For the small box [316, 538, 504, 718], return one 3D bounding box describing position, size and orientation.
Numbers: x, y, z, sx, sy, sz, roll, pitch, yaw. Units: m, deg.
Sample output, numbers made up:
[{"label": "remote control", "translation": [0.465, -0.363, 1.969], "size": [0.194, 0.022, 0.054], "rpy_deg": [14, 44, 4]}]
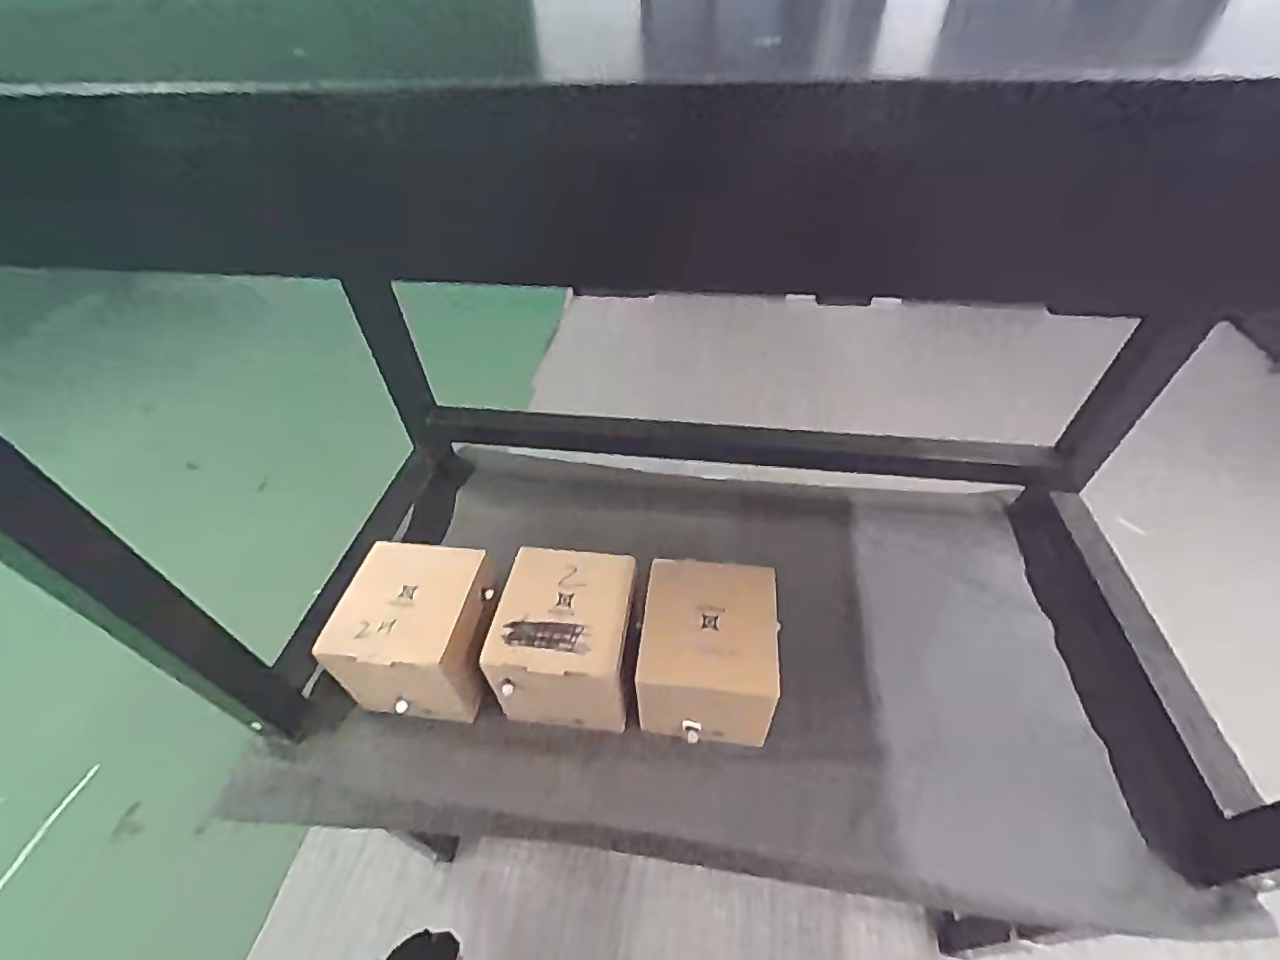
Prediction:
[{"label": "small box", "translation": [-0.301, 0.207, 0.760], "size": [0.168, 0.176, 0.179], "rpy_deg": [4, 45, 6]}]
